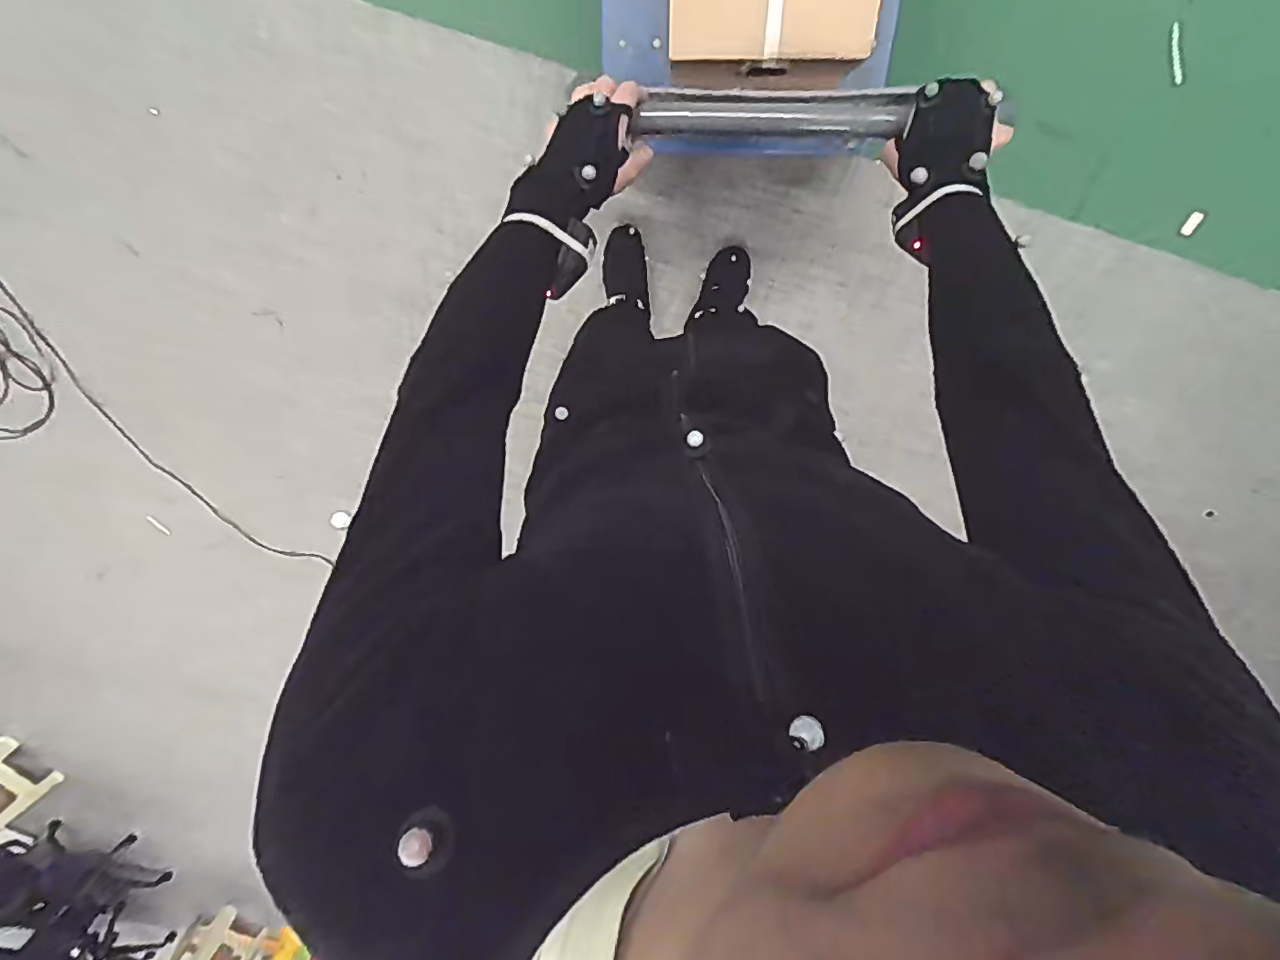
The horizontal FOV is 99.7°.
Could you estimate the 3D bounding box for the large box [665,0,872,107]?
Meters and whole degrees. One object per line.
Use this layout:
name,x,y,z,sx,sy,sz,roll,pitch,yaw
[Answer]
large box,0.210,-0.894,0.906,0.320,0.320,0.408,3,116,4
